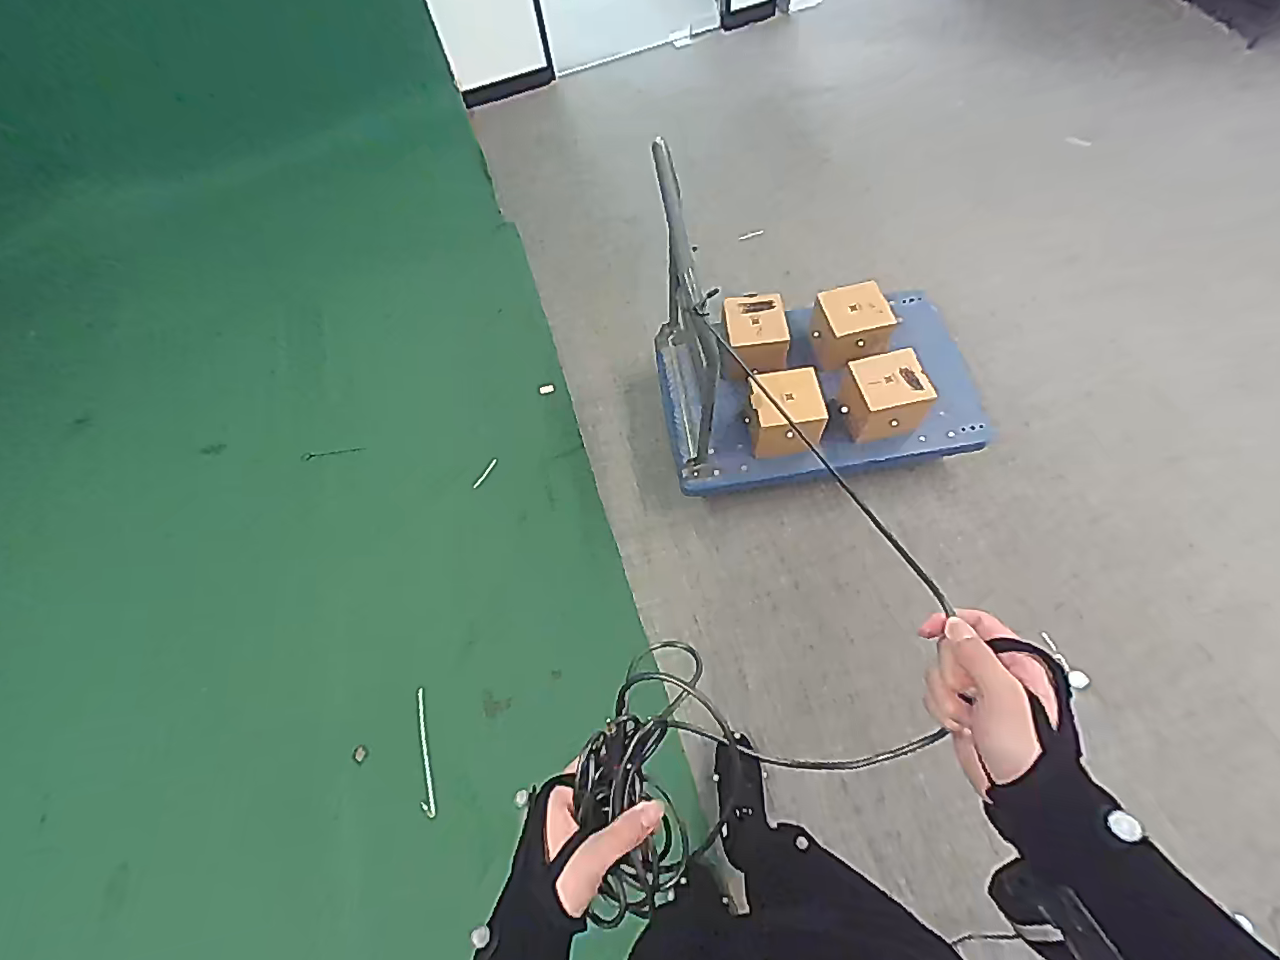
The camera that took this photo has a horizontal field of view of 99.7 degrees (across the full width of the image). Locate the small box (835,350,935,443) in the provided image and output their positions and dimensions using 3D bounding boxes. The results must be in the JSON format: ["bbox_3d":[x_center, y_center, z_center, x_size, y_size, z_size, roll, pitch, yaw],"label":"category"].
[{"bbox_3d":[0.656,-0.223,1.470,0.179,0.176,0.168,-13,63,2],"label":"small box"}]

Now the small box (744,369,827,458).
[{"bbox_3d":[0.390,-0.178,1.482,0.179,0.176,0.168,-9,64,3],"label":"small box"}]

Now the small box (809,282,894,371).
[{"bbox_3d":[0.607,-0.442,1.582,0.179,0.176,0.168,-13,64,0],"label":"small box"}]
